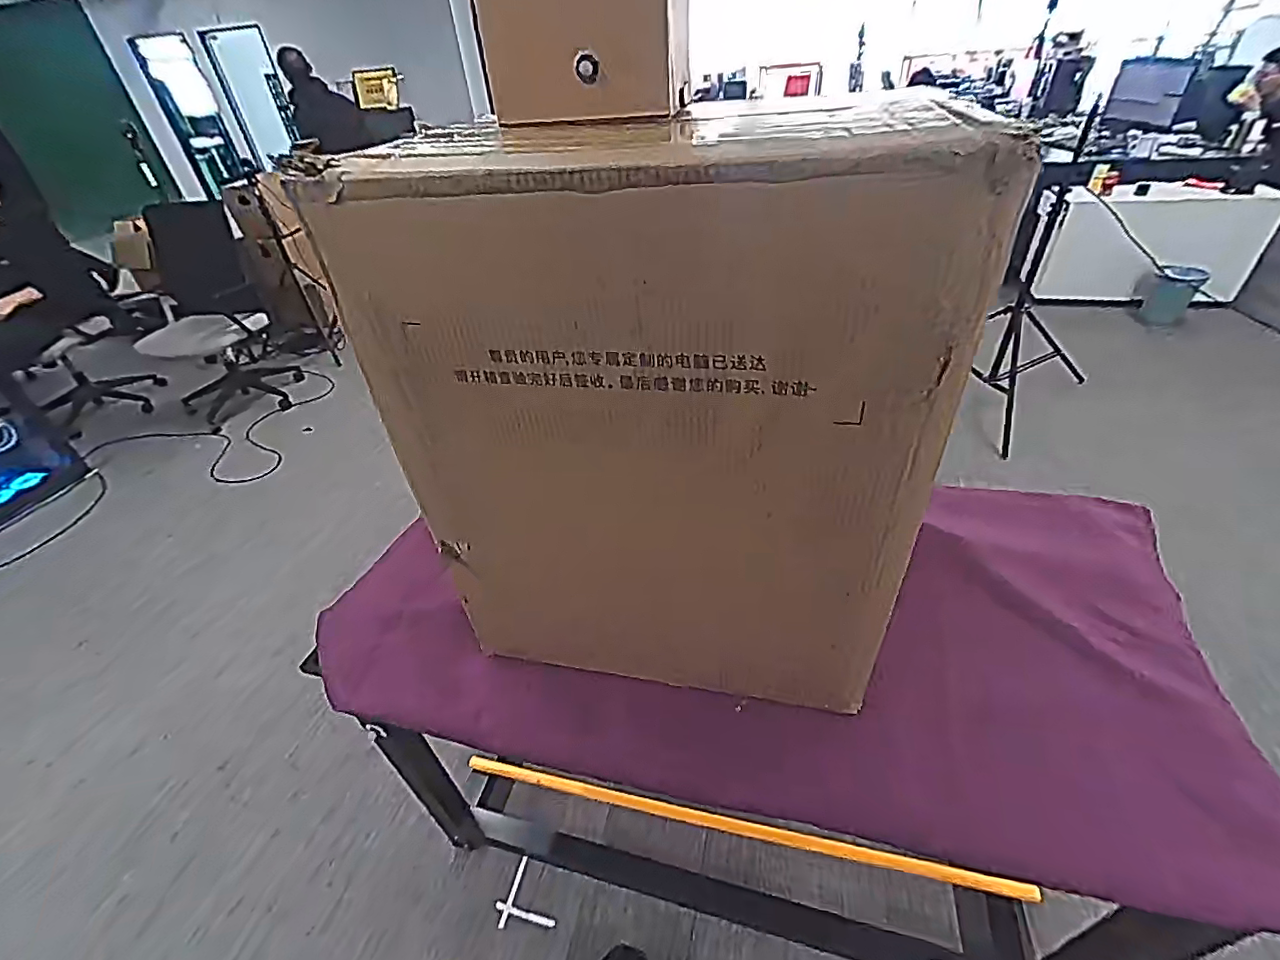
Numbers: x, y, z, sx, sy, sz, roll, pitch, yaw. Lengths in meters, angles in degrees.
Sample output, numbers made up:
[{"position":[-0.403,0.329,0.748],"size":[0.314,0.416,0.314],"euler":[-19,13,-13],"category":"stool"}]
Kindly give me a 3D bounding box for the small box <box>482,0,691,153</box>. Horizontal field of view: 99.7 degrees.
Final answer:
[{"position":[-0.045,-0.445,0.546],"size":[0.179,0.176,0.168],"euler":[4,39,11],"category":"small box"}]
